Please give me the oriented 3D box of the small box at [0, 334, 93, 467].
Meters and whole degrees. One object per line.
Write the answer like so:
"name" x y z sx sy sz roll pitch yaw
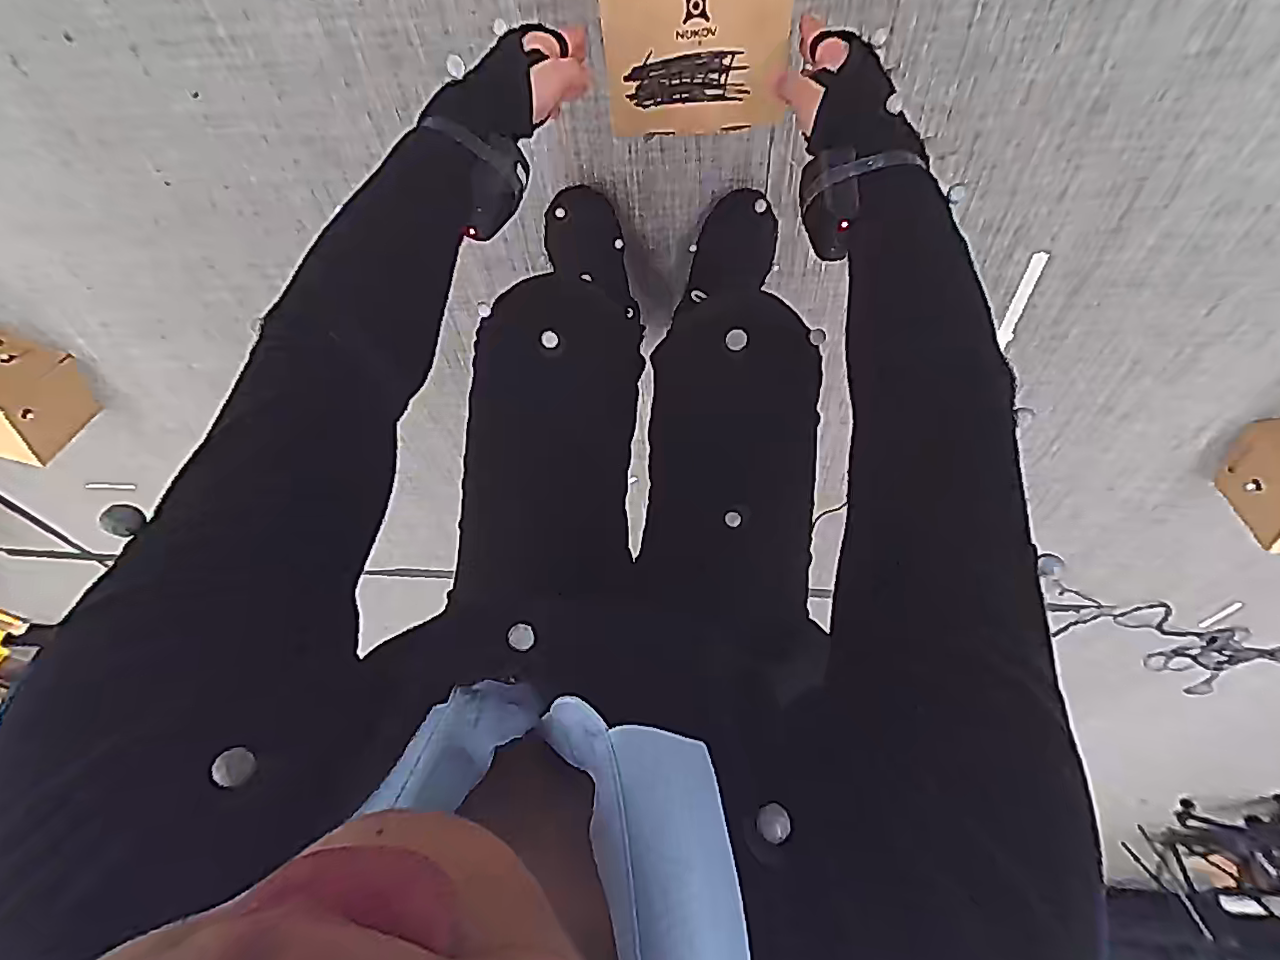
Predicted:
"small box" -1.234 -0.160 1.048 0.168 0.176 0.179 18 139 -13

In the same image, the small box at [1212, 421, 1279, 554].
"small box" 1.144 0.003 0.914 0.179 0.176 0.168 -10 138 18
